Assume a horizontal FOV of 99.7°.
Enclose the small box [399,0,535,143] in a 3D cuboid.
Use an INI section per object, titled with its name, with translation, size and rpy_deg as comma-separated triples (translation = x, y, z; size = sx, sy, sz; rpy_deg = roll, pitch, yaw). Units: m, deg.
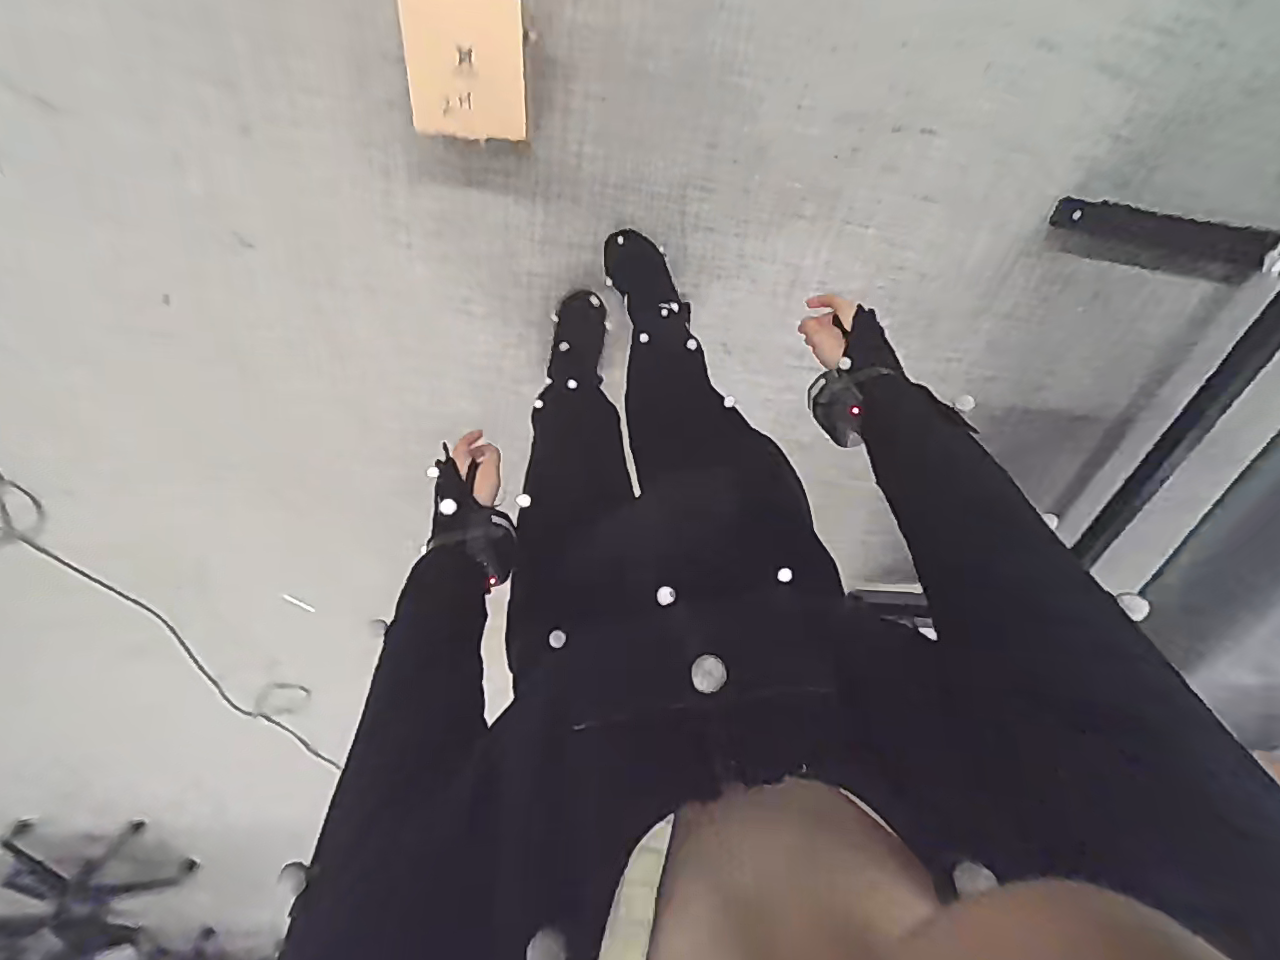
[small box]
translation = -0.255, -0.632, 0.837
size = 0.168, 0.176, 0.179
rpy_deg = 1, 123, -5
